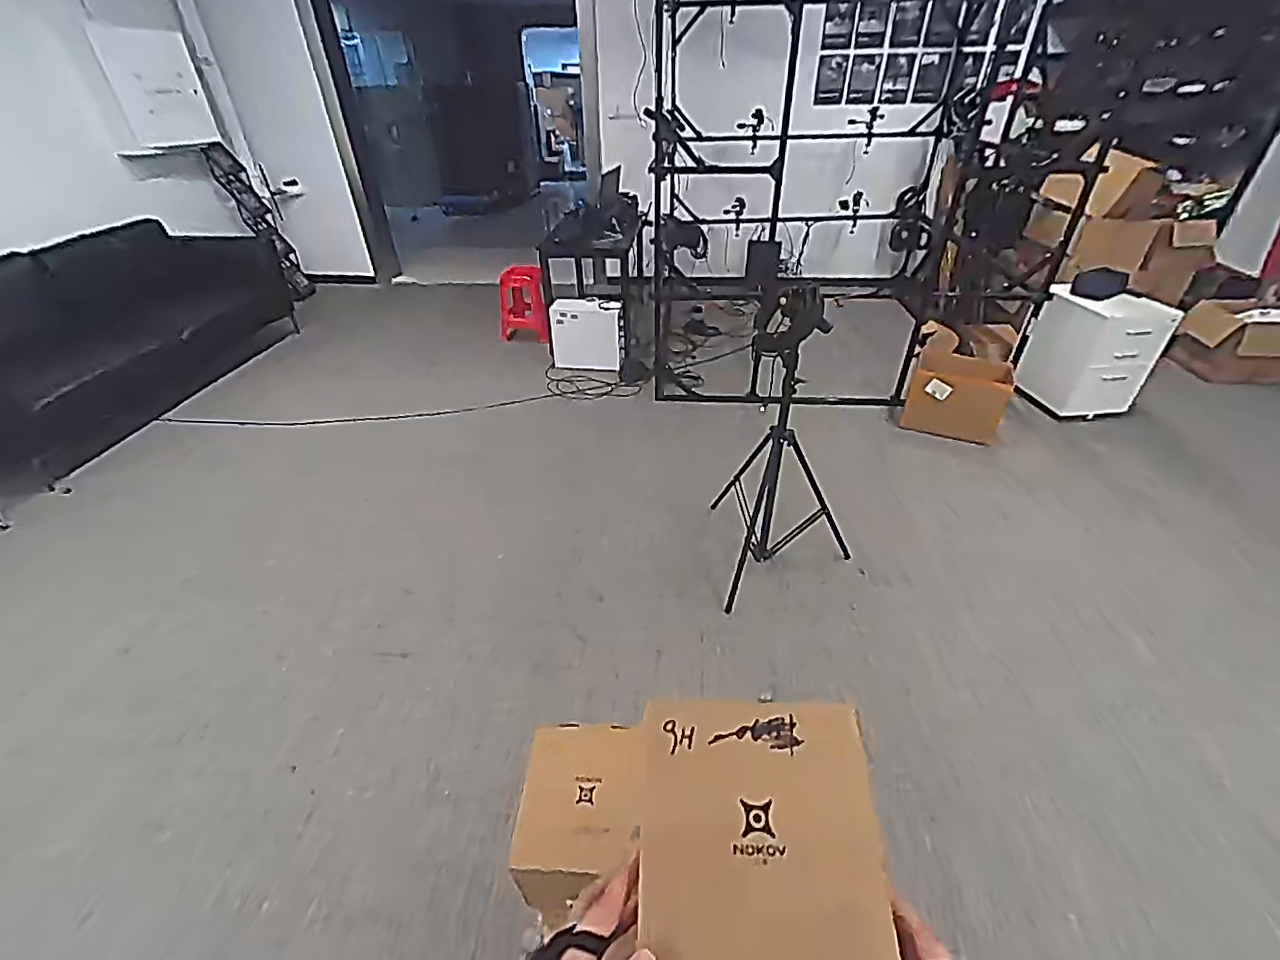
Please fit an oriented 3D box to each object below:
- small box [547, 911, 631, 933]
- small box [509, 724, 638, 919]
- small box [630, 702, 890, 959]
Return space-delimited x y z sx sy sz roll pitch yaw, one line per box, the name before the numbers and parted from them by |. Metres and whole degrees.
small box | -0.061 0.575 0.851 0.168 0.176 0.179 0 38 5
small box | -0.063 0.459 0.735 0.168 0.176 0.179 0 39 5
small box | 0.084 0.292 0.443 0.168 0.176 0.179 -1 56 4
